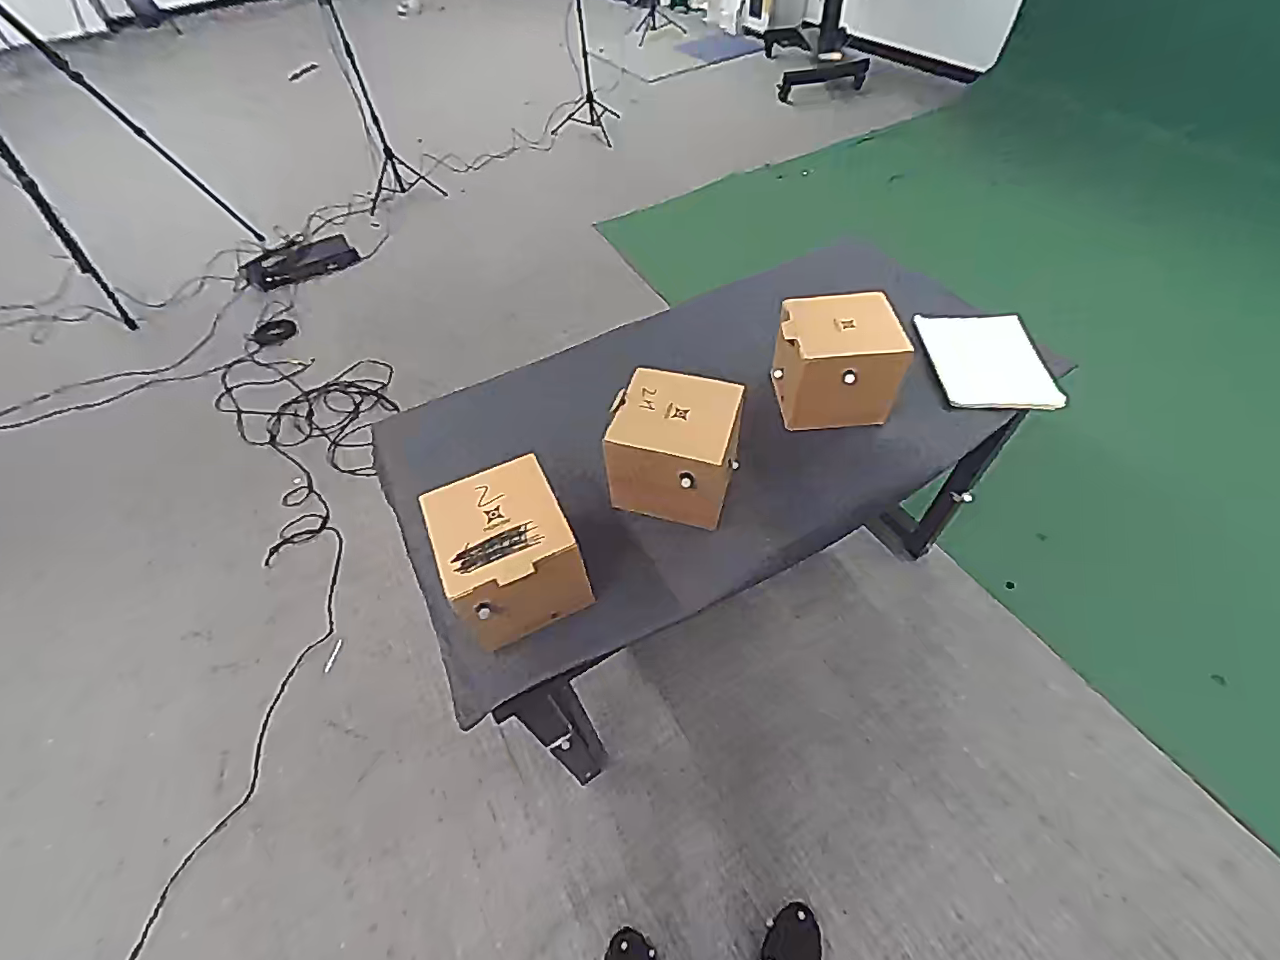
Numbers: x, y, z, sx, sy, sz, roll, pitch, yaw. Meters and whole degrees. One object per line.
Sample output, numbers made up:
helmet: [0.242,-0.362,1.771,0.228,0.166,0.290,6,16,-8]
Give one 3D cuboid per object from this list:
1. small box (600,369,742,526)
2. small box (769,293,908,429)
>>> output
small box: [0.053,-0.047,0.858,0.179,0.176,0.168,12,54,13]
small box: [0.340,-0.208,0.962,0.179,0.176,0.168,-4,52,2]
